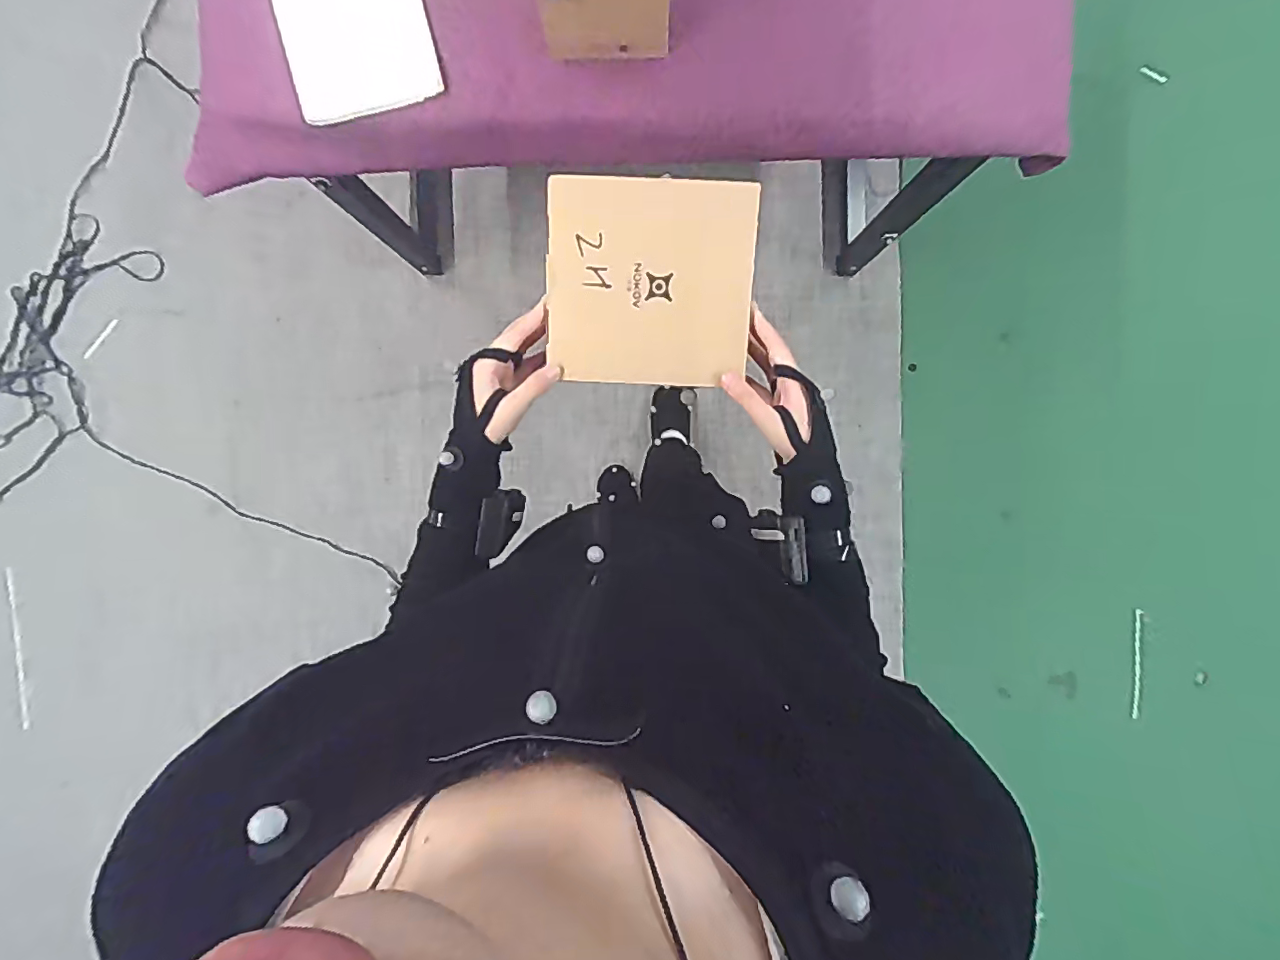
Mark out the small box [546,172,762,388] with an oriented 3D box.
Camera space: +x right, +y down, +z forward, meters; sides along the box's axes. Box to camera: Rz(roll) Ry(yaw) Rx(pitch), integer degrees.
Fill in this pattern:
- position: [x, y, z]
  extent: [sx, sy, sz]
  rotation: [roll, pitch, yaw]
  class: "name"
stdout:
- position: [0.009, -0.182, 0.533]
  extent: [0.179, 0.176, 0.168]
  rotation: [3, 102, 0]
  class: "small box"
